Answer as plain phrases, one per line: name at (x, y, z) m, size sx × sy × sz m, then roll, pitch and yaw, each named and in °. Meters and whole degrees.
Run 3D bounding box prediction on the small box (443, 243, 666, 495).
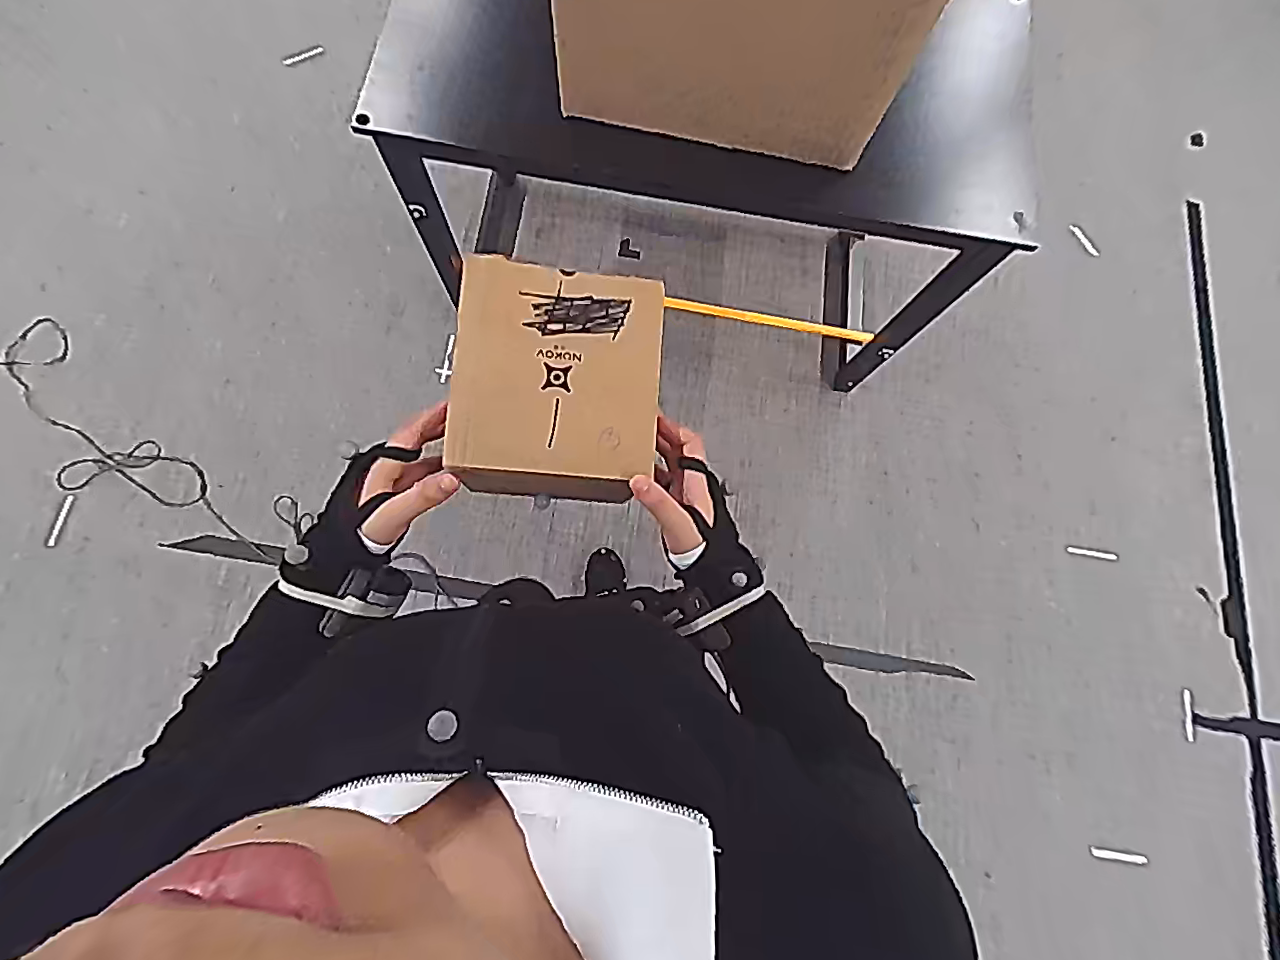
small box at (-0.077, -0.086, 0.508) m, size 0.168 × 0.176 × 0.179 m, roll 5°, pitch 82°, yaw -9°
